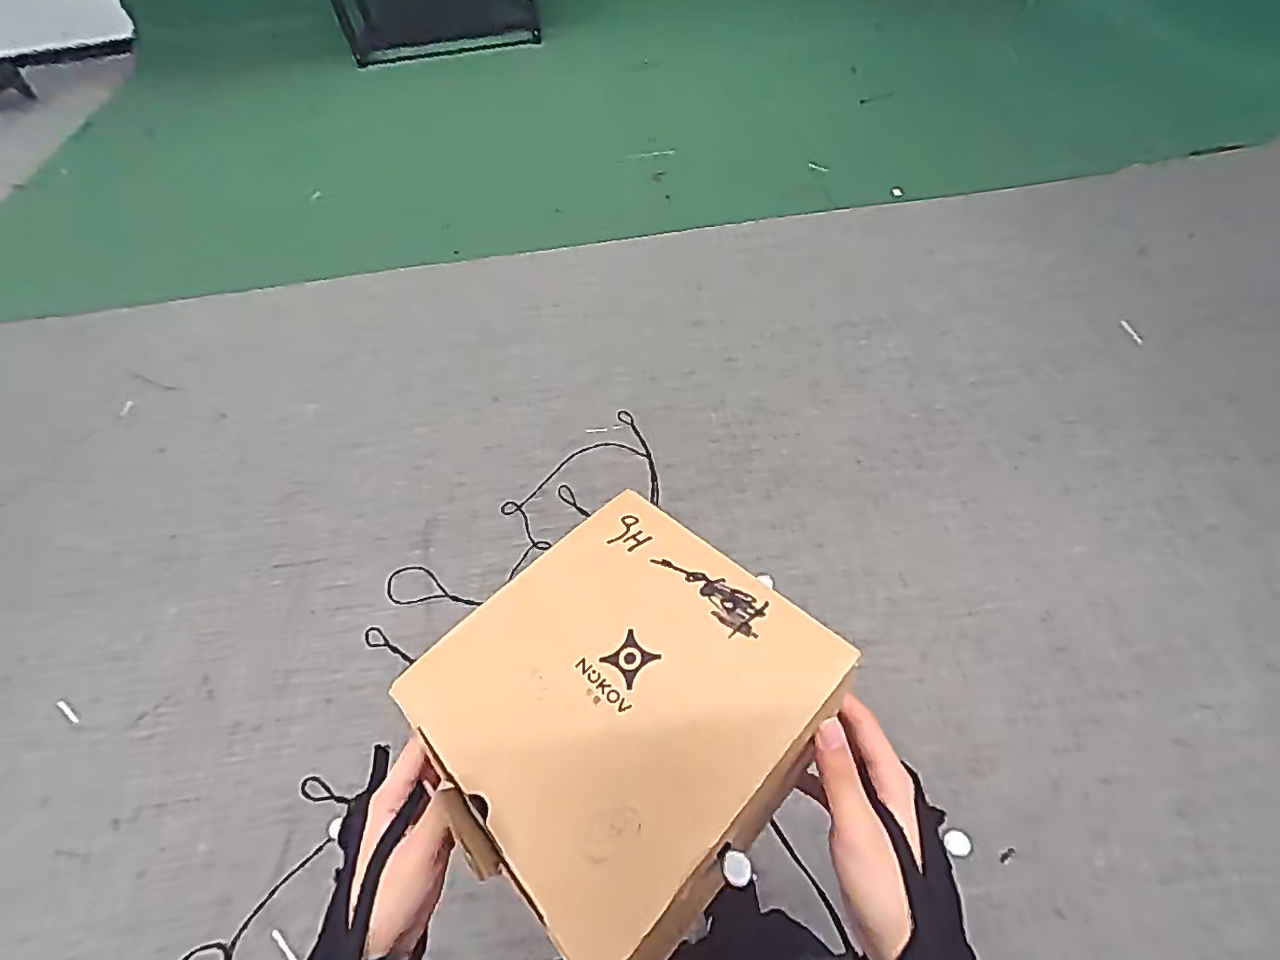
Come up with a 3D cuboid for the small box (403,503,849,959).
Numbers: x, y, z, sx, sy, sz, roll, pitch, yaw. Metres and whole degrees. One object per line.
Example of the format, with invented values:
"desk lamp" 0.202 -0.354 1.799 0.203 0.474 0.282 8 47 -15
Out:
"small box" 0.000 0.155 0.333 0.179 0.176 0.168 -40 55 -23
